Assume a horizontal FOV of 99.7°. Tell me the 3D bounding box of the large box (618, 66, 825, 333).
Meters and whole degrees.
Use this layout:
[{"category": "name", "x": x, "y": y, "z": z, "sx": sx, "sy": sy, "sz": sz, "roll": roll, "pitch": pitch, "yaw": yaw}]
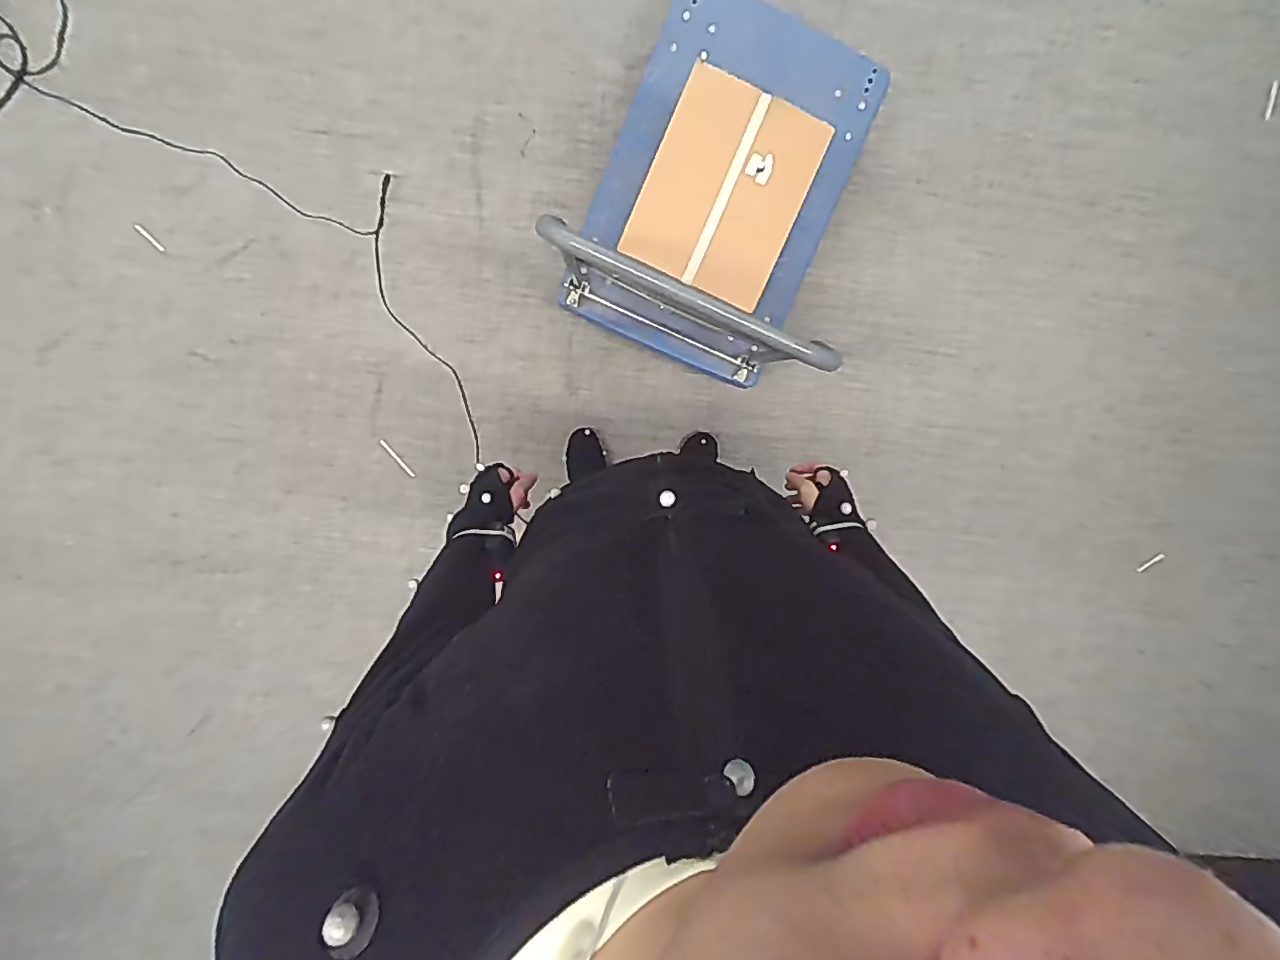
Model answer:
[{"category": "large box", "x": 0.161, "y": -0.609, "z": 1.259, "sx": 0.320, "sy": 0.320, "sz": 0.408, "roll": 23, "pitch": 94, "yaw": -6}]
